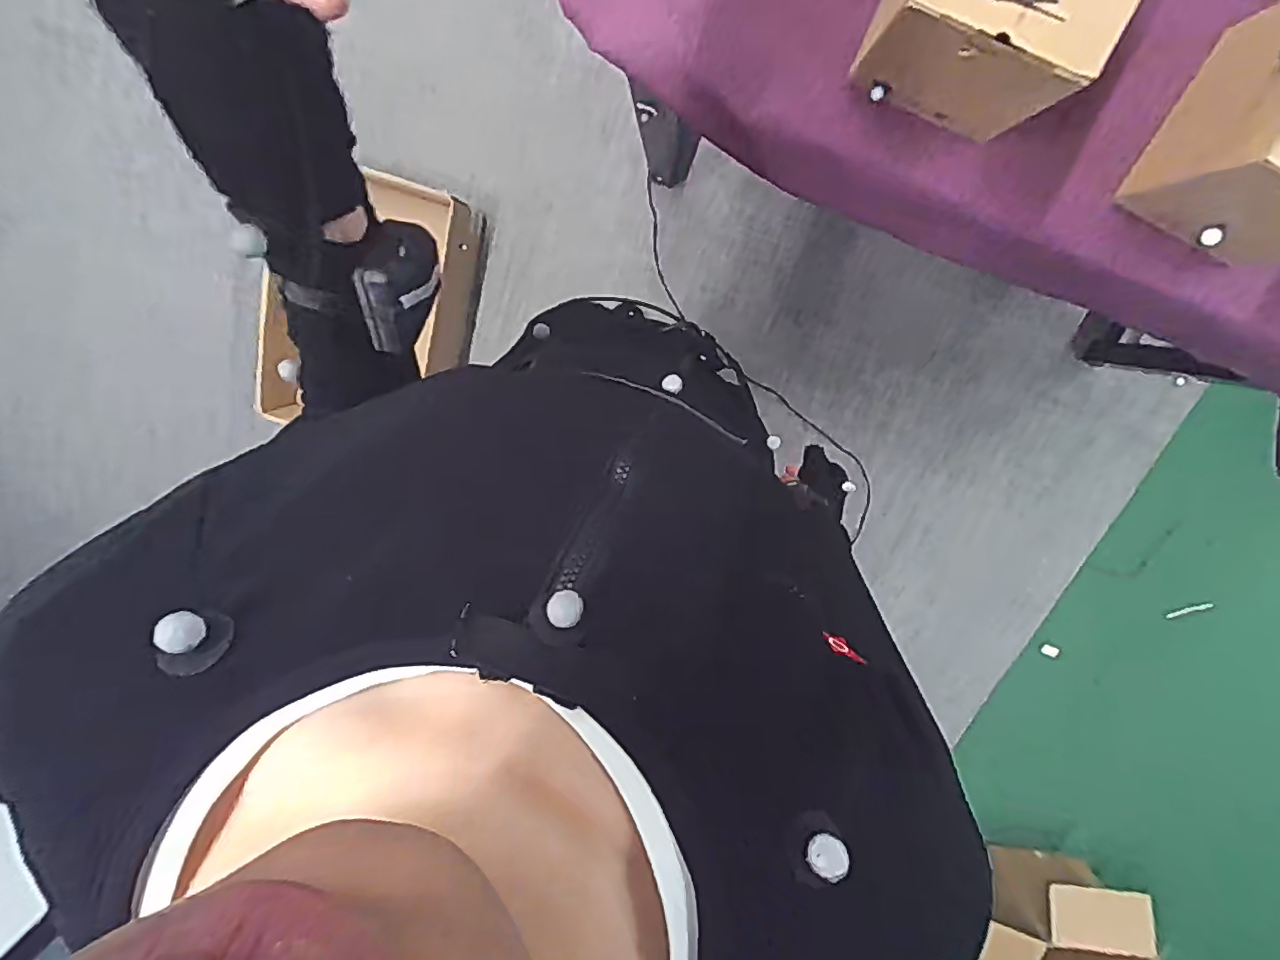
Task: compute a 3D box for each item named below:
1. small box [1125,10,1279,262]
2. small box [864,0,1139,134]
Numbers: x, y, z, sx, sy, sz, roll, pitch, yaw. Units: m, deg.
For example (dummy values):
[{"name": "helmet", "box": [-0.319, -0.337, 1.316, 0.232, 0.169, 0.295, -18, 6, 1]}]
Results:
[{"name": "small box", "box": [0.623, -0.323, 0.497, 0.168, 0.176, 0.179, 26, 108, -4]}, {"name": "small box", "box": [0.324, -0.445, 0.478, 0.168, 0.176, 0.179, 23, 108, -3]}]
